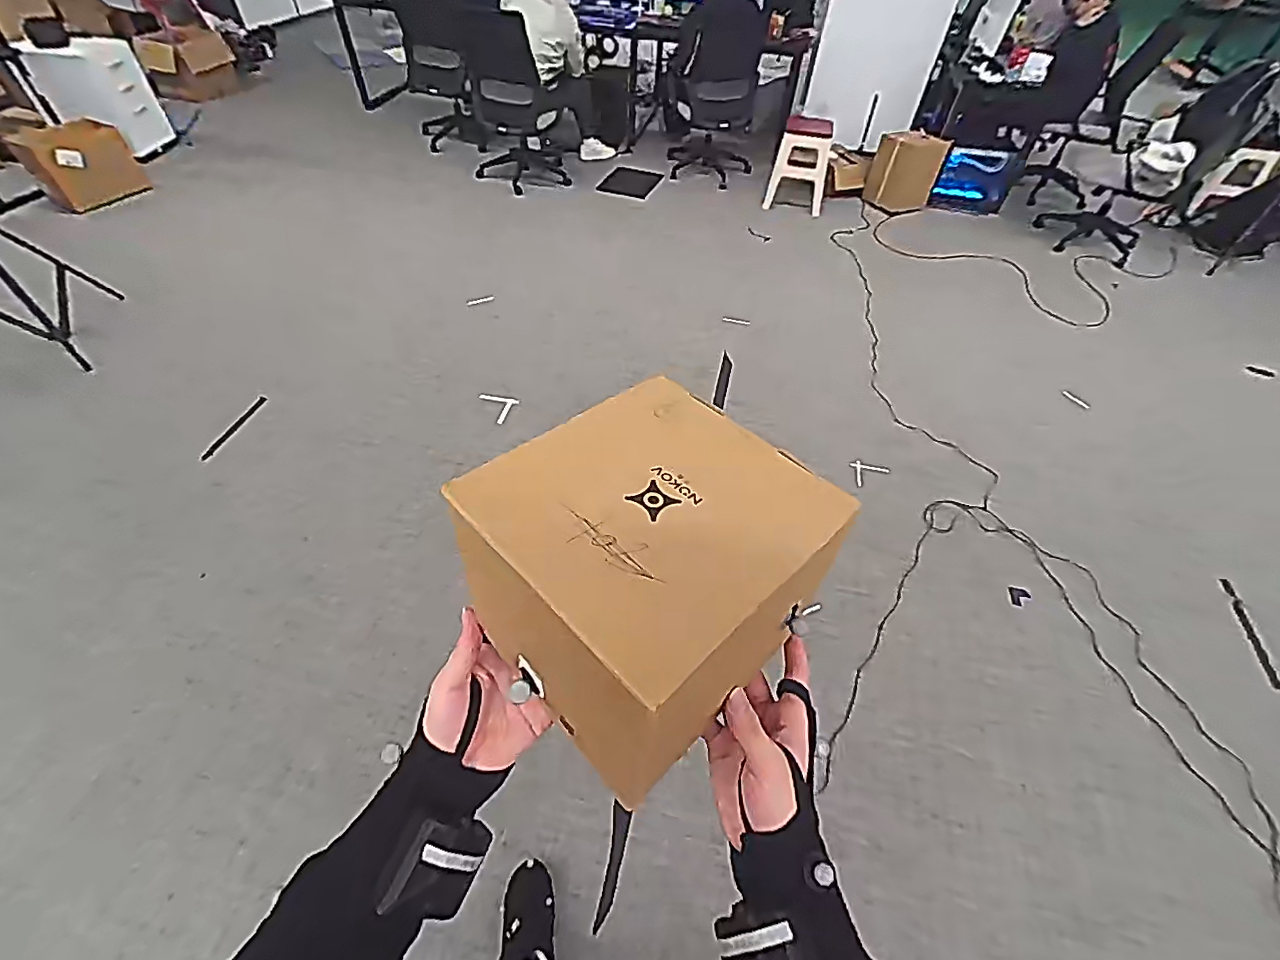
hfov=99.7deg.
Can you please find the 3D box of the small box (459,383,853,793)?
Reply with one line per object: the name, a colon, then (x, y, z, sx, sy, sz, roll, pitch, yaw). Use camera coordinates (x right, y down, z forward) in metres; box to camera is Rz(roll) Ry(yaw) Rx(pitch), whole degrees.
small box: (0.005, 0.069, 0.371, 0.179, 0.176, 0.168, -34, 57, -31)
